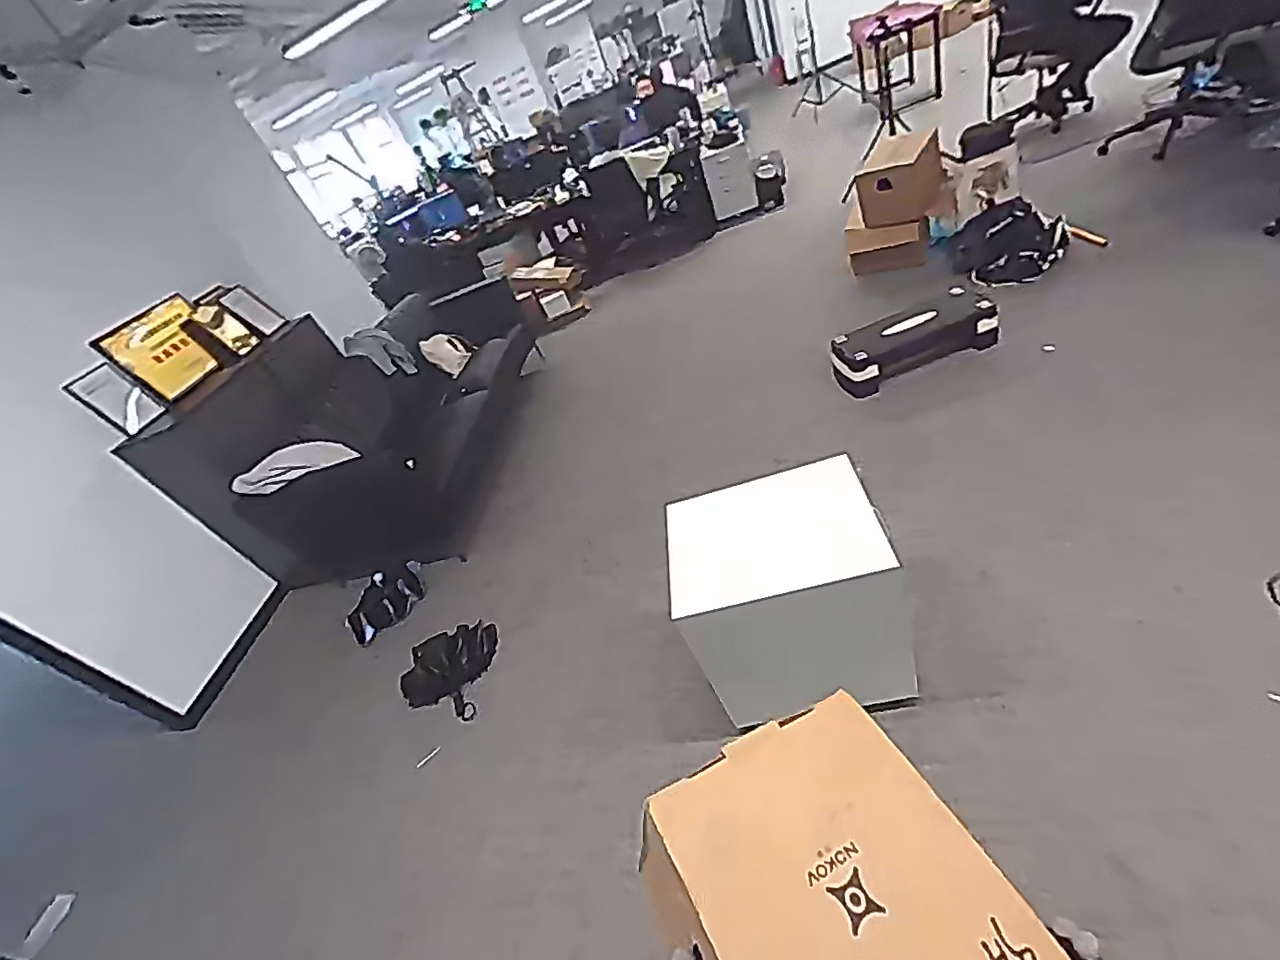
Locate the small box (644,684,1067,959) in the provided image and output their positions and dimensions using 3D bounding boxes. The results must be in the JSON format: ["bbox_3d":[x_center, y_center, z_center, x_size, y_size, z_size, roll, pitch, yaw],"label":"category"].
[{"bbox_3d":[0.110,0.279,0.361,0.168,0.176,0.179,-17,46,-20],"label":"small box"}]
